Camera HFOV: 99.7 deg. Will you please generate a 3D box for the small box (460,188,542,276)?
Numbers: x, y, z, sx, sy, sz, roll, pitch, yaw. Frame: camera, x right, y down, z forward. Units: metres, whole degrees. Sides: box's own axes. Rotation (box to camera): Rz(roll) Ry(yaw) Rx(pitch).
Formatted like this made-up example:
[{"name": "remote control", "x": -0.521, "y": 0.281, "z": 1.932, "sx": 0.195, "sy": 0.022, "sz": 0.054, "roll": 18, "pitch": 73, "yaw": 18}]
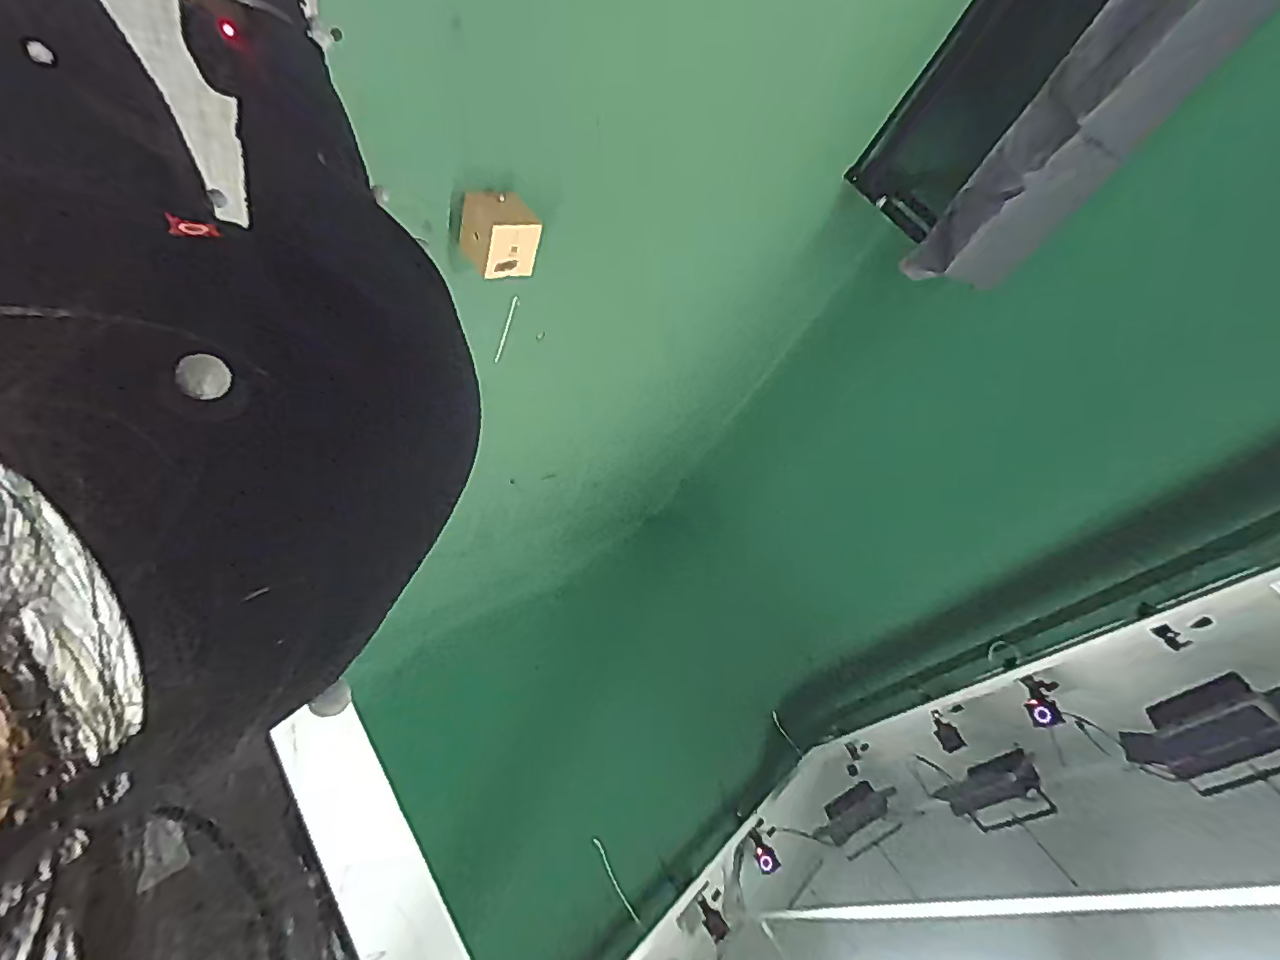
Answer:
[{"name": "small box", "x": -0.422, "y": -0.740, "z": 1.619, "sx": 0.168, "sy": 0.176, "sz": 0.179, "roll": -22, "pitch": 156, "yaw": -38}]
